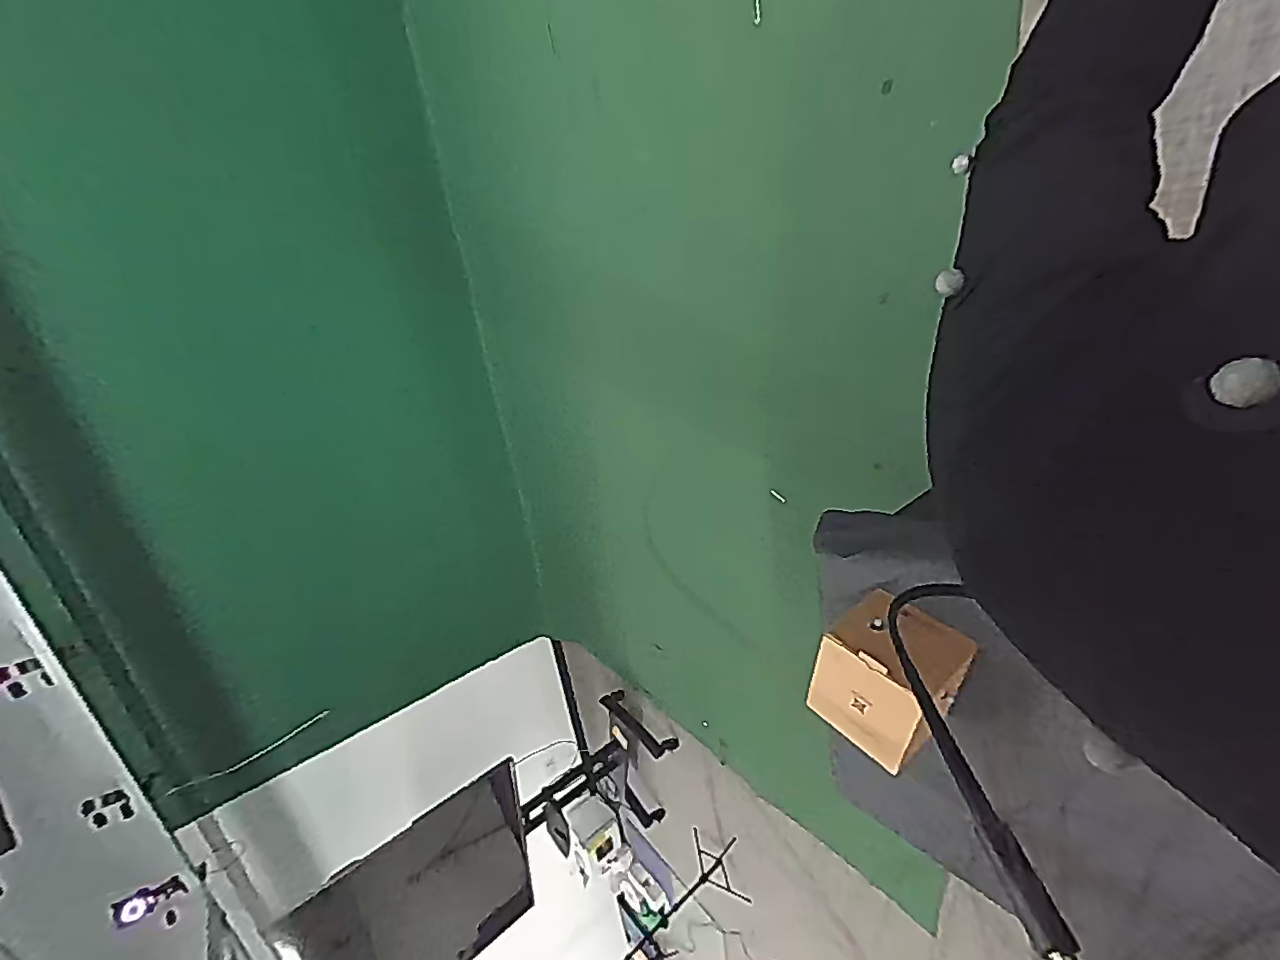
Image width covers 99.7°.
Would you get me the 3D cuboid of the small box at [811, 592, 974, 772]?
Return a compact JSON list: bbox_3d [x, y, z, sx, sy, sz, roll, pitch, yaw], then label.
[{"bbox_3d":[0.406,0.314,0.876,0.168,0.176,0.179,32,136,43],"label":"small box"}]
